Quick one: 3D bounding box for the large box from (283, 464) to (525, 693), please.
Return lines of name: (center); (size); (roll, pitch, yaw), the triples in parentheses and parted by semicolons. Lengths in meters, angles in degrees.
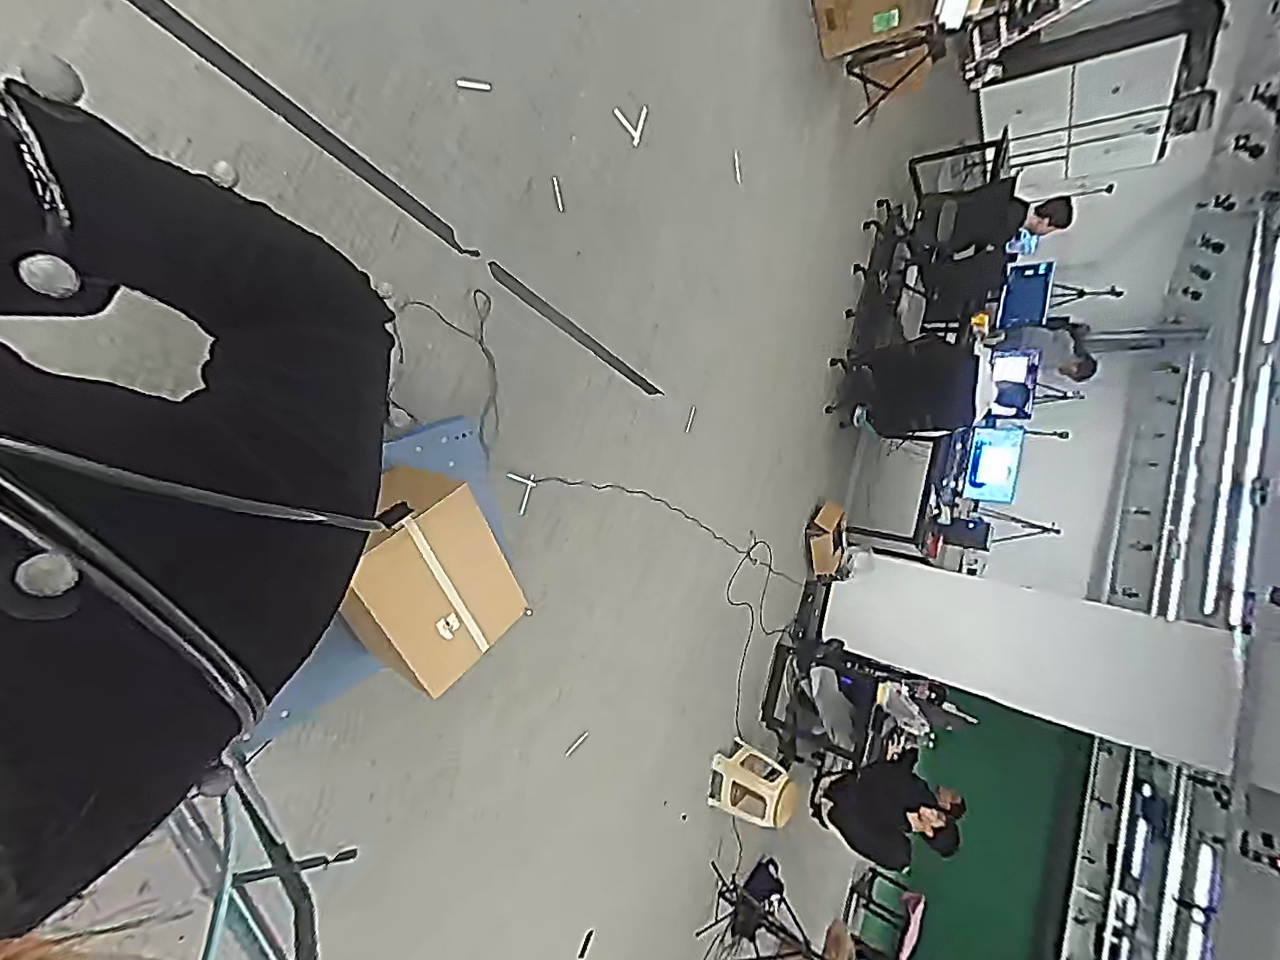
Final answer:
large box: (-0.551, 0.221, 1.305); (0.320, 0.320, 0.408); (-43, 130, -37)
